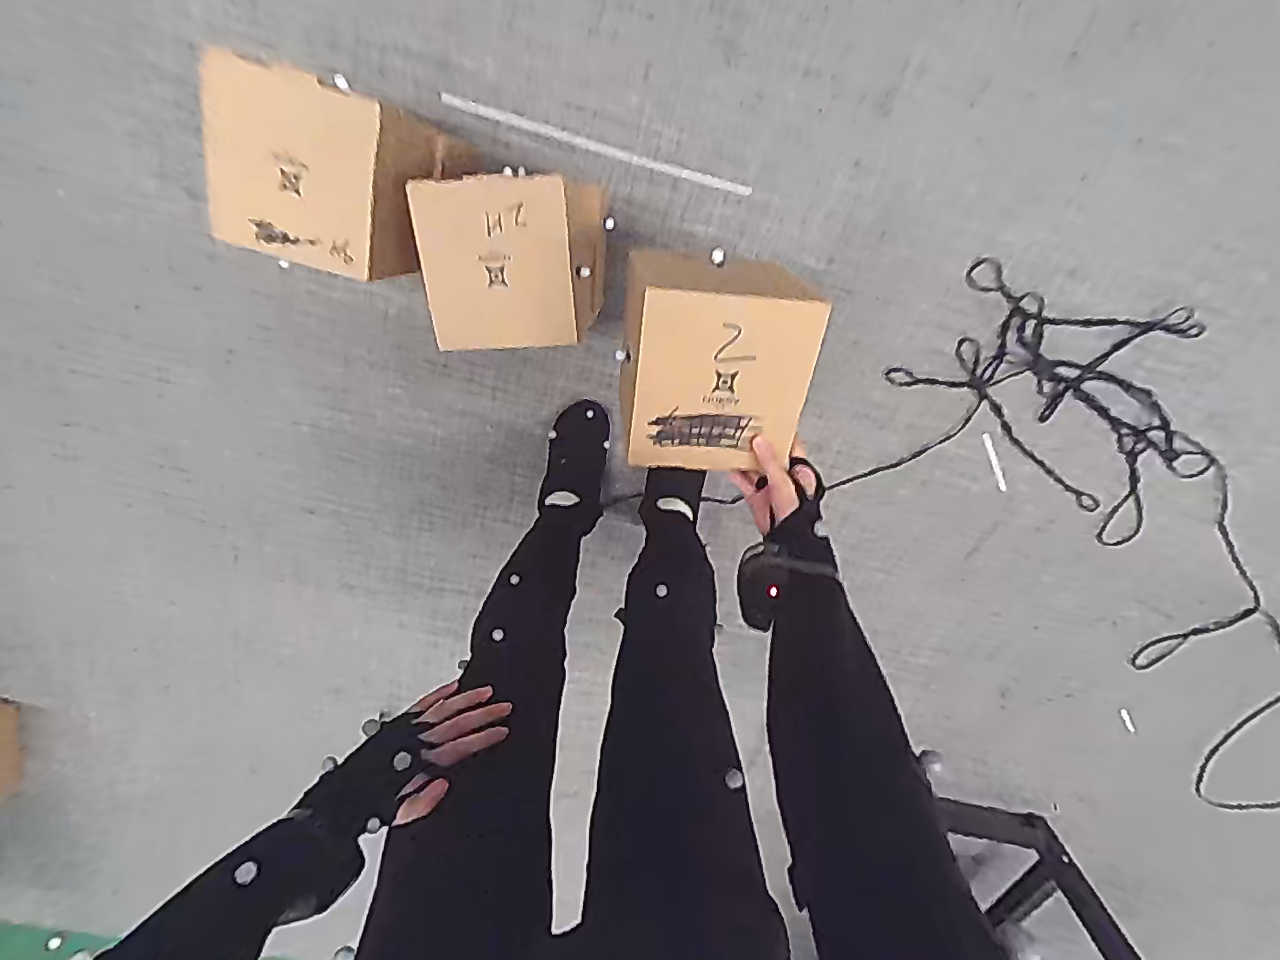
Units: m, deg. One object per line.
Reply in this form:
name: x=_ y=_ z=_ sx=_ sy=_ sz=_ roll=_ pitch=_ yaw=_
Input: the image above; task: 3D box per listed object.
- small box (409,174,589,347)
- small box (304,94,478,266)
small box: x=-0.156 y=-0.269 z=0.666 sx=0.168 sy=0.176 sz=0.179 roll=-2 pitch=114 yaw=1
small box: x=-0.346 y=-0.417 z=0.776 sx=0.179 sy=0.176 sz=0.168 roll=14 pitch=113 yaw=-6
